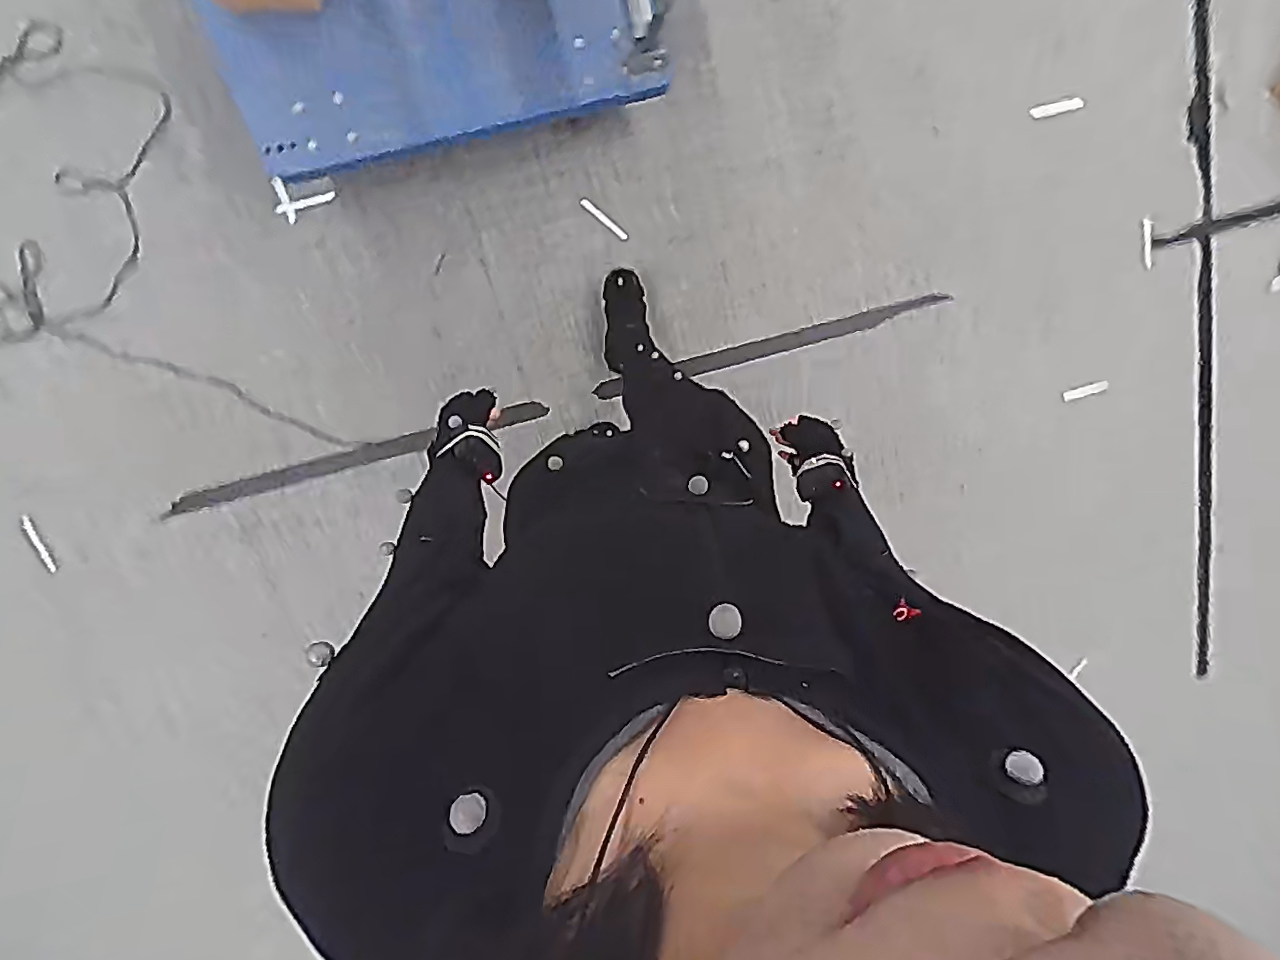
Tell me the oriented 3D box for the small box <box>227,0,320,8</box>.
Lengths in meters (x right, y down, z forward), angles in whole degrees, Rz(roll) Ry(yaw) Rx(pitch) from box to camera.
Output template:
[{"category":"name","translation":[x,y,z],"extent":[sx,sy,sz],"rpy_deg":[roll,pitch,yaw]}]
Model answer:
[{"category":"small box","translation":[-0.682,-0.958,0.930],"extent":[0.179,0.176,0.168],"rpy_deg":[-7,104,-9]}]

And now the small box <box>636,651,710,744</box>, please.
[{"category":"small box","translation":[0.092,0.648,1.625],"extent":[0.179,0.176,0.168],"rpy_deg":[-18,106,-5]}]
